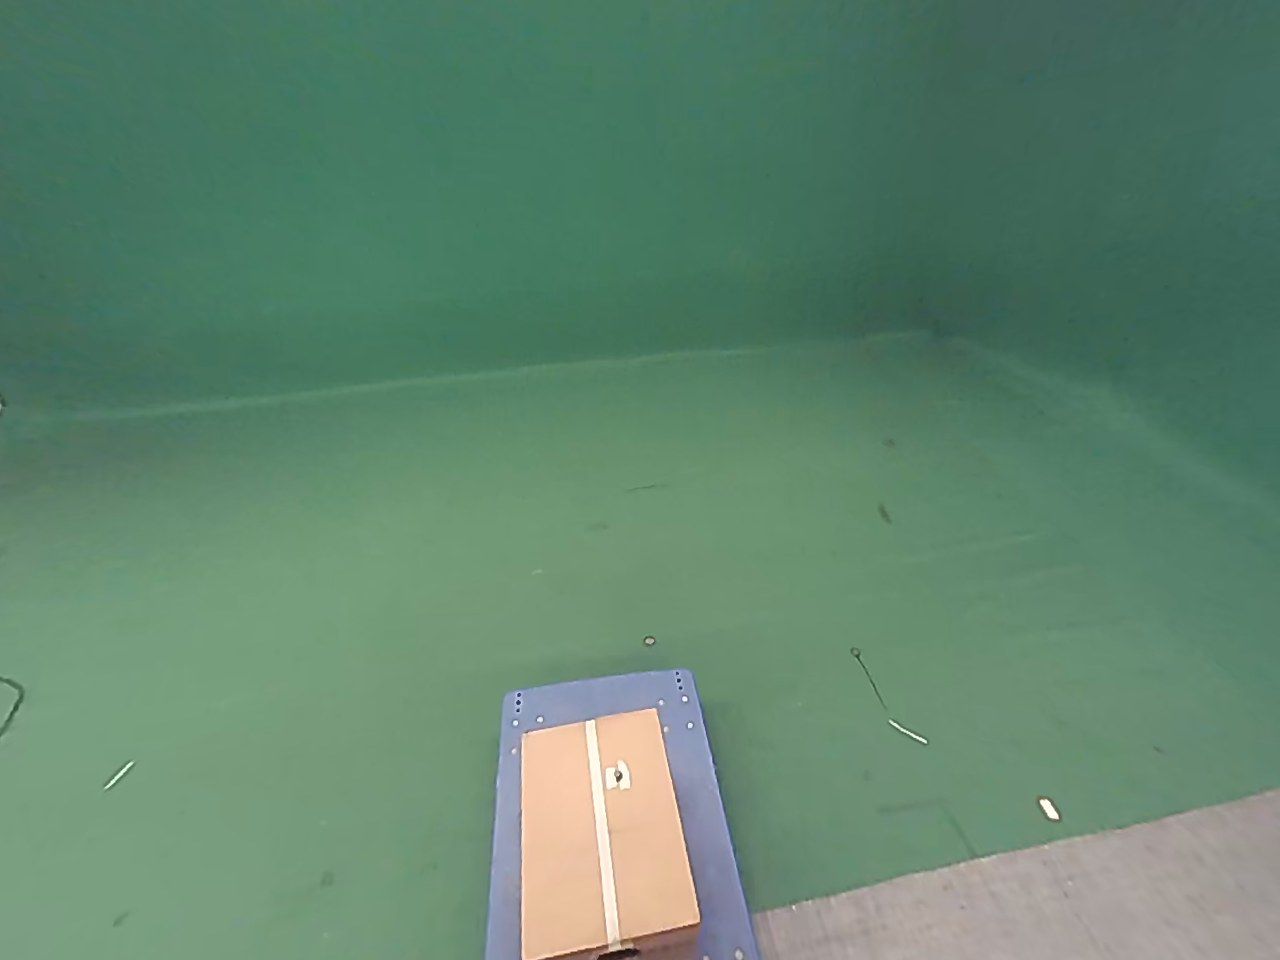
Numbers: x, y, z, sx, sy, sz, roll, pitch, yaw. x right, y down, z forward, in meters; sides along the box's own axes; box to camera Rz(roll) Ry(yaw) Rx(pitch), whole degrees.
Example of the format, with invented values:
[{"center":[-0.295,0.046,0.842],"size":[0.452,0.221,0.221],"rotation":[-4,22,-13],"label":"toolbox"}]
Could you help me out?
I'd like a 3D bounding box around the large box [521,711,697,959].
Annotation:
[{"center":[-0.075,0.795,1.178],"size":[0.320,0.320,0.408],"rotation":[-8,38,-7],"label":"large box"}]
